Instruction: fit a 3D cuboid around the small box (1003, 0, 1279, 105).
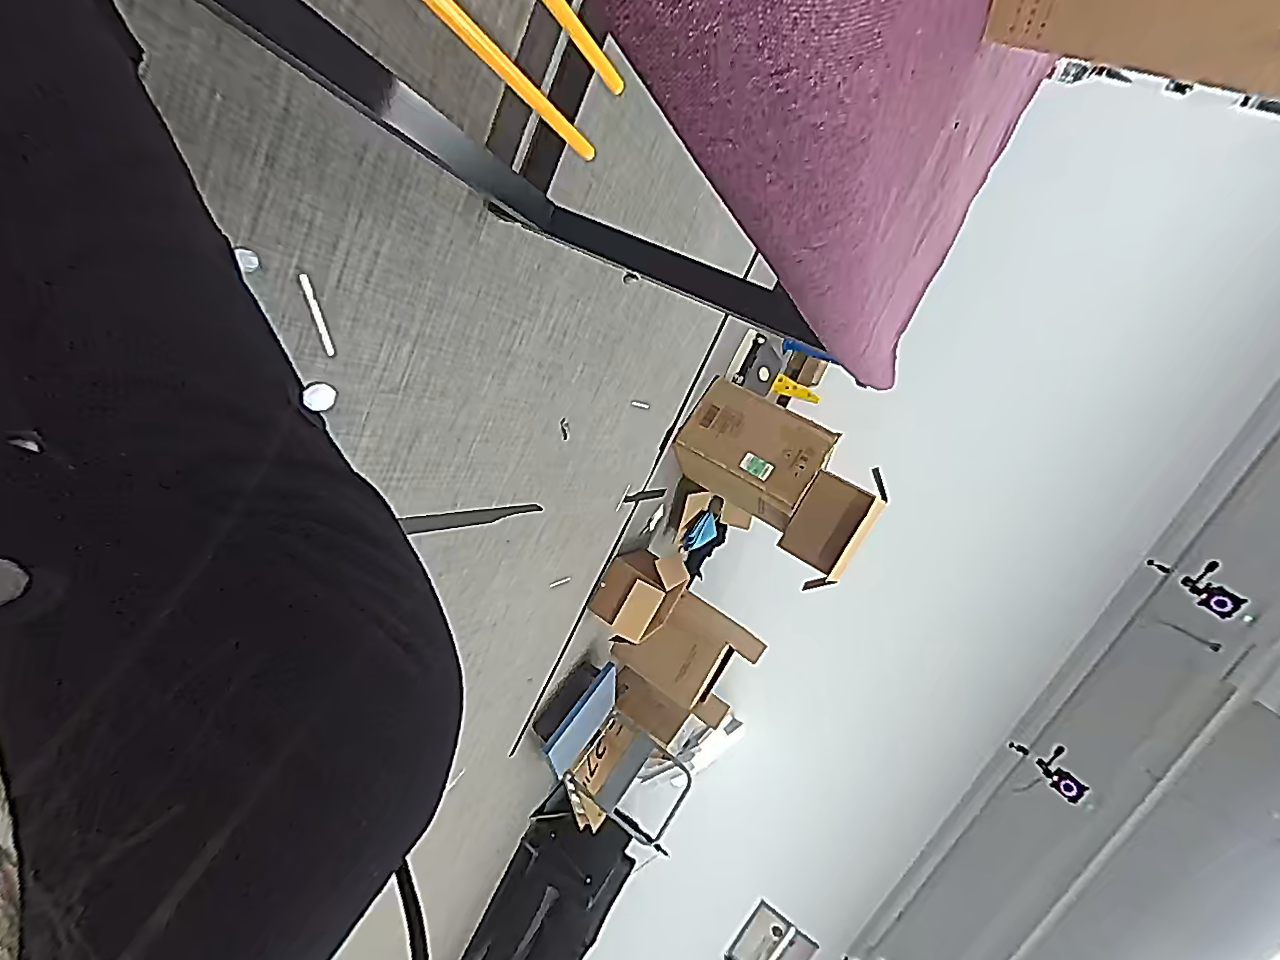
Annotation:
[{"bbox_3d":[0.252,-0.266,0.168,0.168,0.176,0.179,-65,161,11],"label":"small box"}]
